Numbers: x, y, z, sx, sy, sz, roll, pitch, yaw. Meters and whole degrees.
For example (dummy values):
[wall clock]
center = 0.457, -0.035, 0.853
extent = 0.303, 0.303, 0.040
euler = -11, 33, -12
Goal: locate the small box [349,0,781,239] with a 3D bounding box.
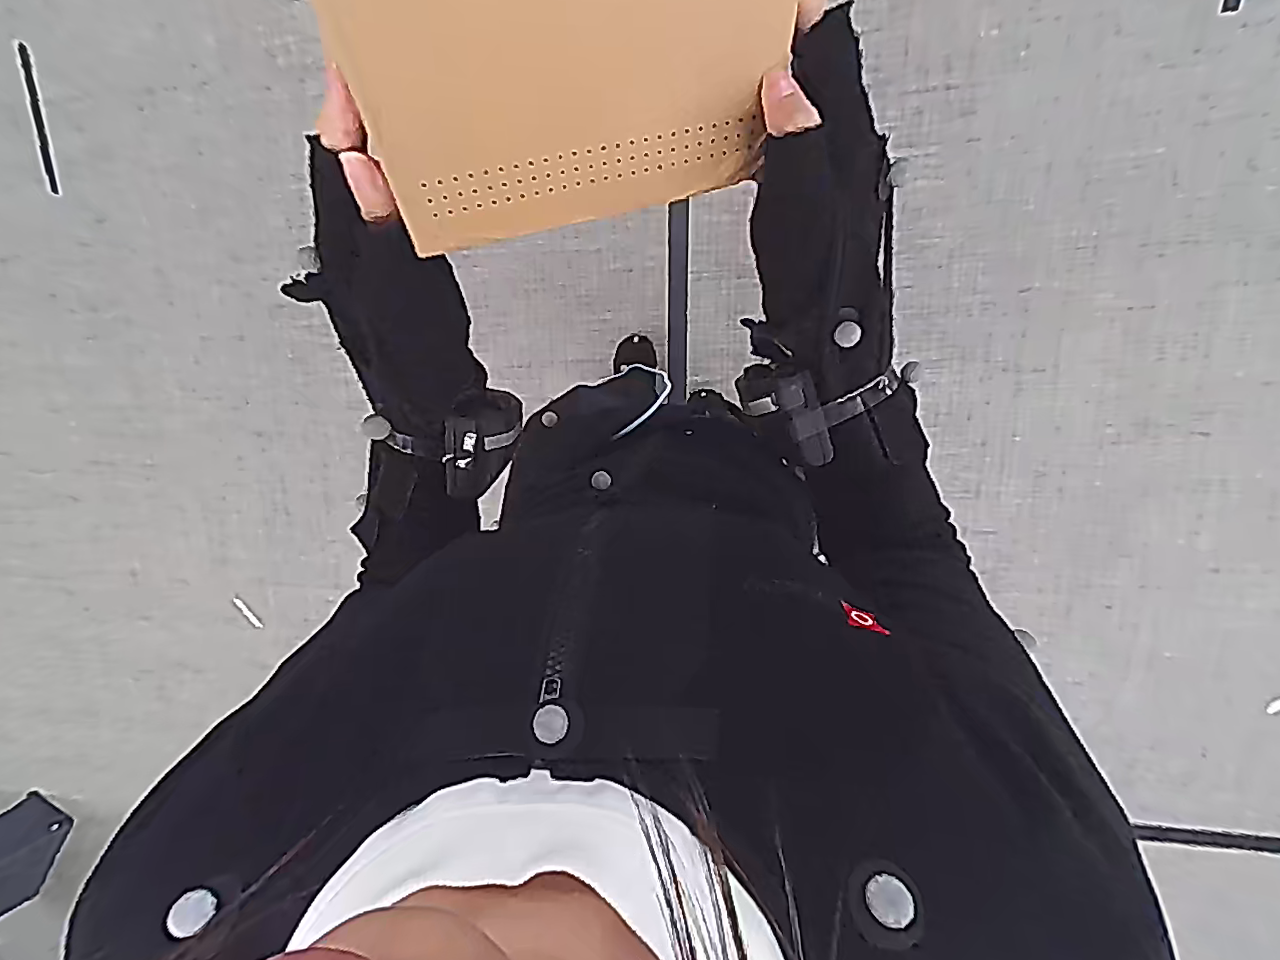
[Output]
[small box]
center = -0.042, -0.239, 0.247
extent = 0.179, 0.176, 0.168
euler = -17, 59, -8
